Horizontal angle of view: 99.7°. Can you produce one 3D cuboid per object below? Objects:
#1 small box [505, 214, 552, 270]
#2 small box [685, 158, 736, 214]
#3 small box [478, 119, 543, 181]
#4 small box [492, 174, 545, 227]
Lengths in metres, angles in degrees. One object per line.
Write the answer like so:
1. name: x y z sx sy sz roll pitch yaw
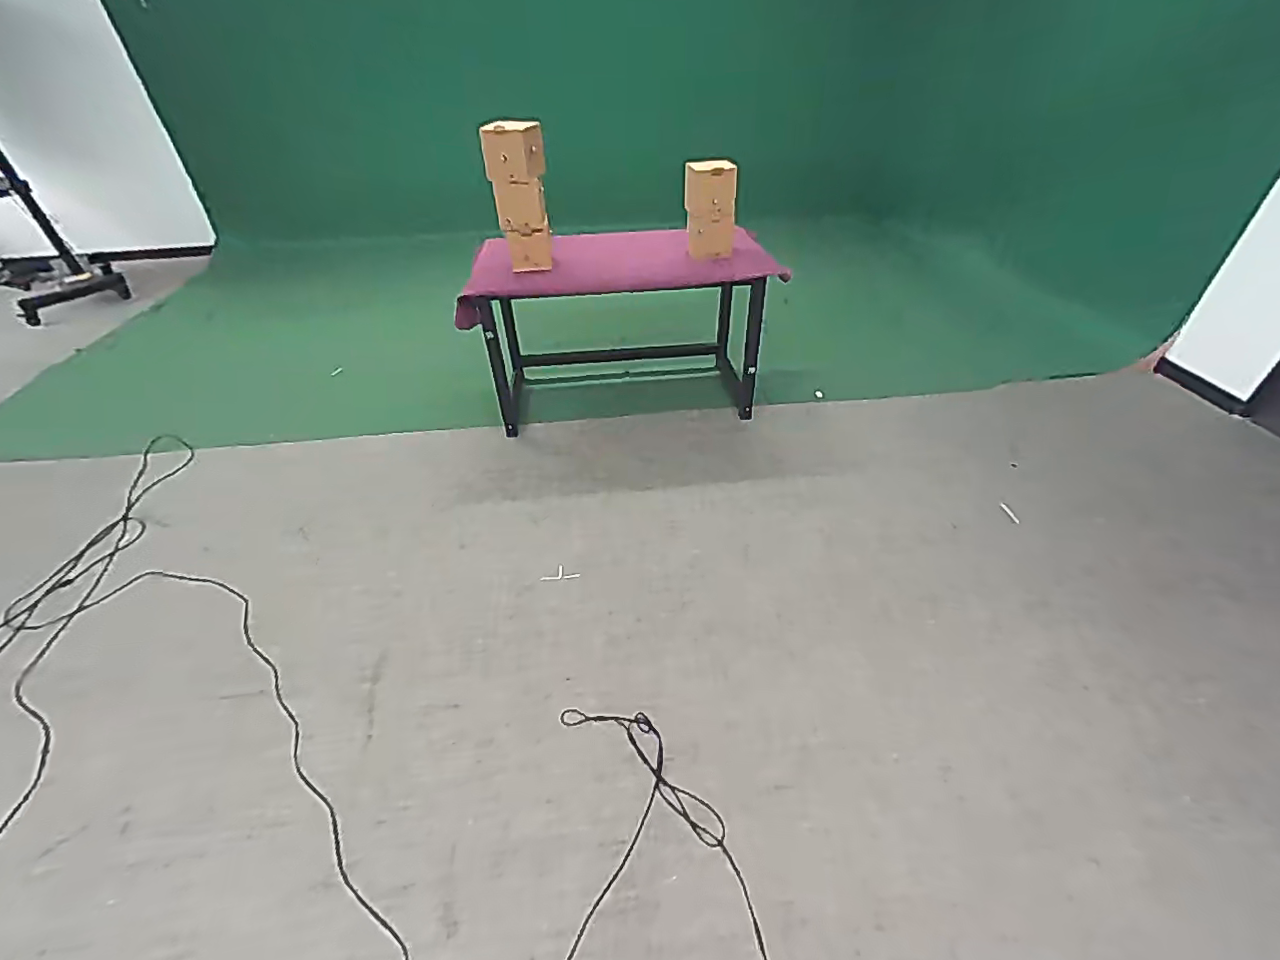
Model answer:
1. small box: -0.456 -0.980 2.225 0.168 0.176 0.179 -6 42 -5
2. small box: 0.277 -1.173 2.161 0.168 0.176 0.179 -7 40 -5
3. small box: -0.469 -1.220 2.000 0.168 0.176 0.179 9 44 11
4. small box: -0.466 -1.094 2.105 0.168 0.176 0.179 -2 40 -2
